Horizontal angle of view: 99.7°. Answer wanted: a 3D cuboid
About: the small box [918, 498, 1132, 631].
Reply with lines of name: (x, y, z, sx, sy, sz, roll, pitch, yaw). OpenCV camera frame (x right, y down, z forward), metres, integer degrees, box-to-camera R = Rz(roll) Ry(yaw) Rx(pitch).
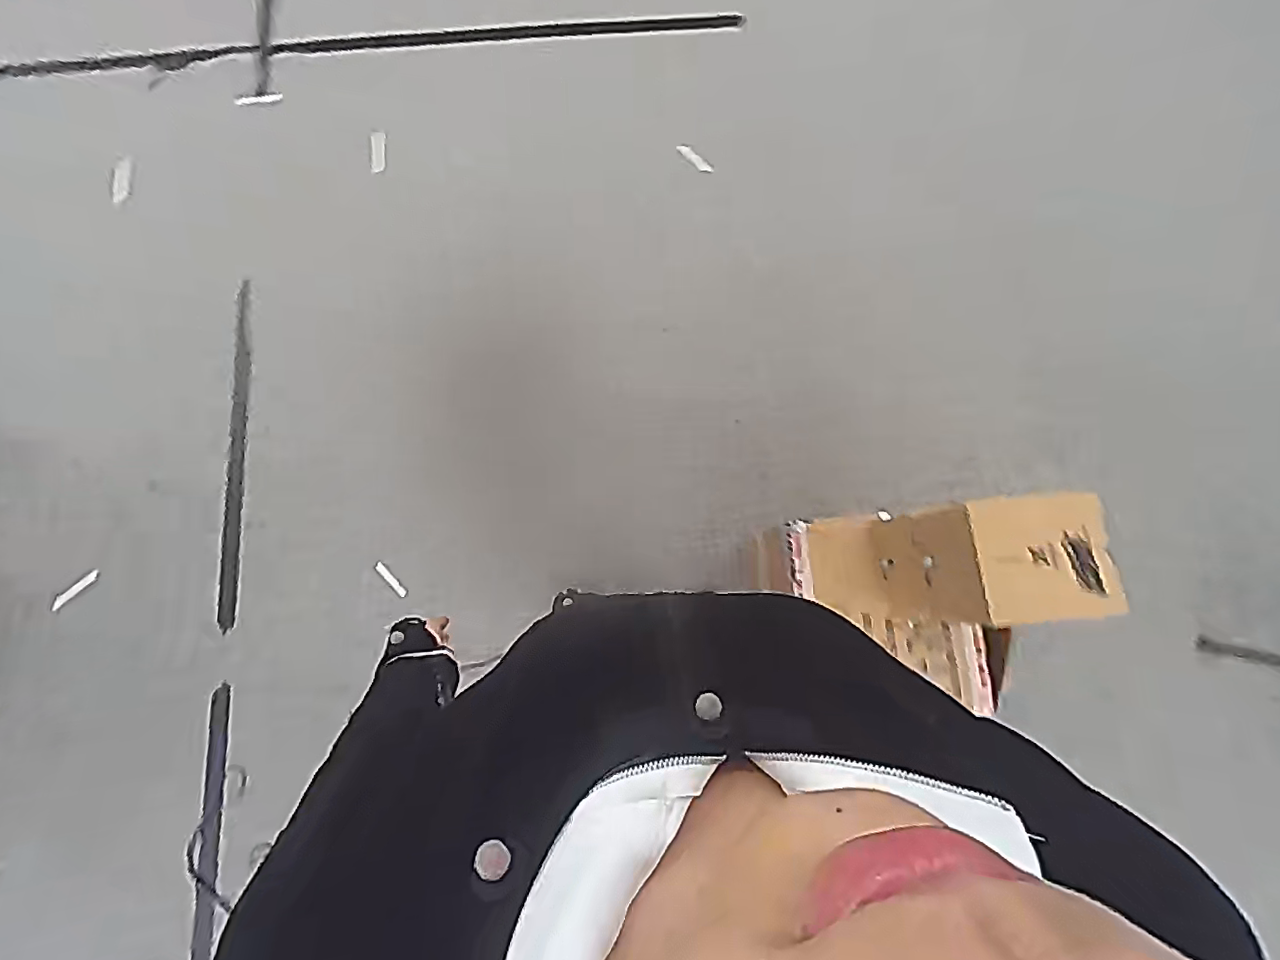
small box: (0.536, 0.123, 0.780, 0.179, 0.176, 0.168, -5, 78, 2)

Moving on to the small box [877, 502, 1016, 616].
small box: (0.545, 0.140, 0.944, 0.179, 0.176, 0.168, -8, 78, 1)
